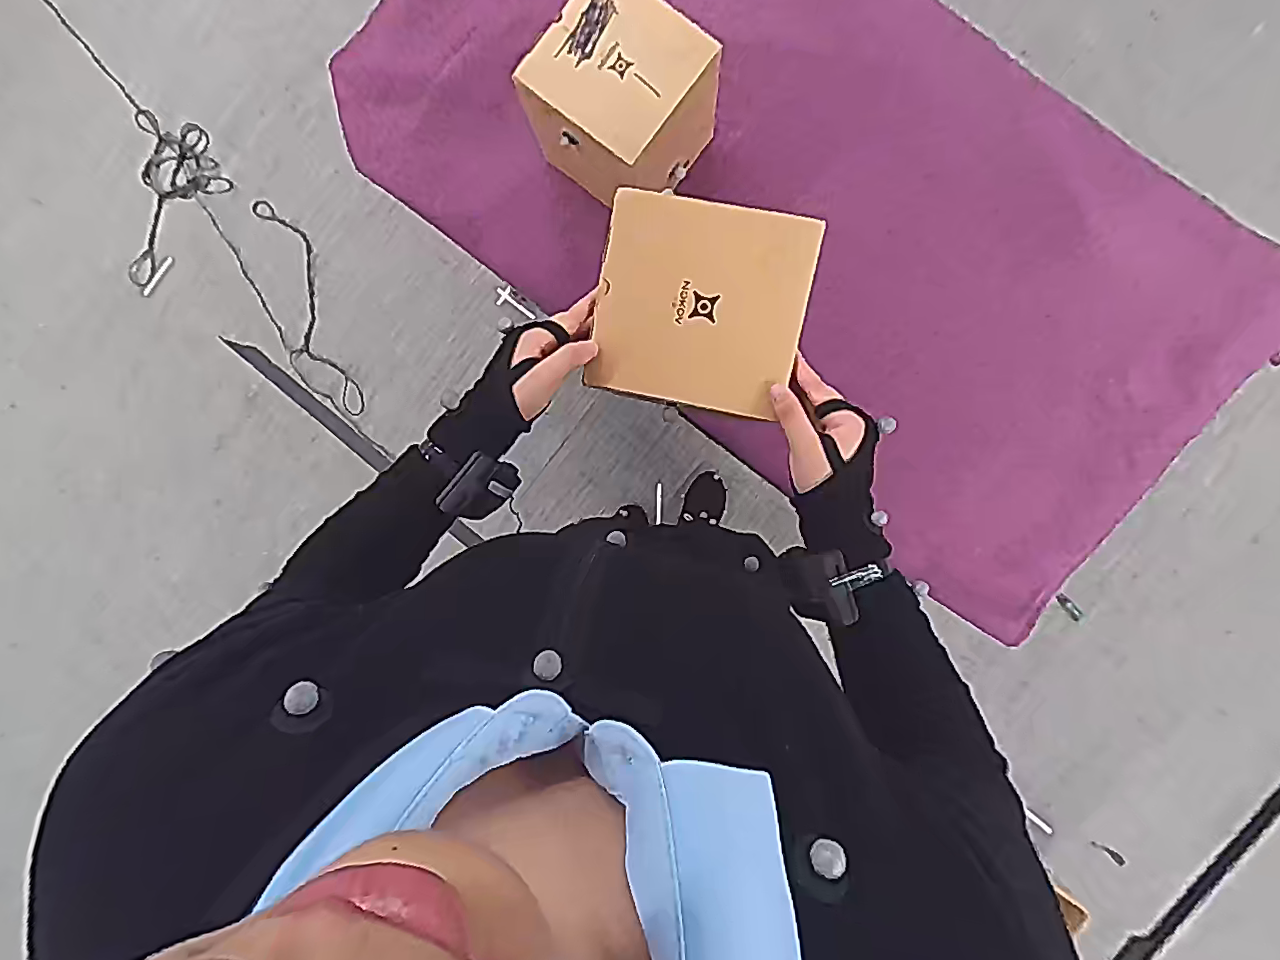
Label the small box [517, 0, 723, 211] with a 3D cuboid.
[{"bbox_3d":[-0.020,-0.468,0.684,0.179,0.176,0.168,39,94,2],"label":"small box"}]

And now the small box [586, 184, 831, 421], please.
[{"bbox_3d":[0.062,-0.158,0.528,0.179,0.176,0.168,12,98,6],"label":"small box"}]
